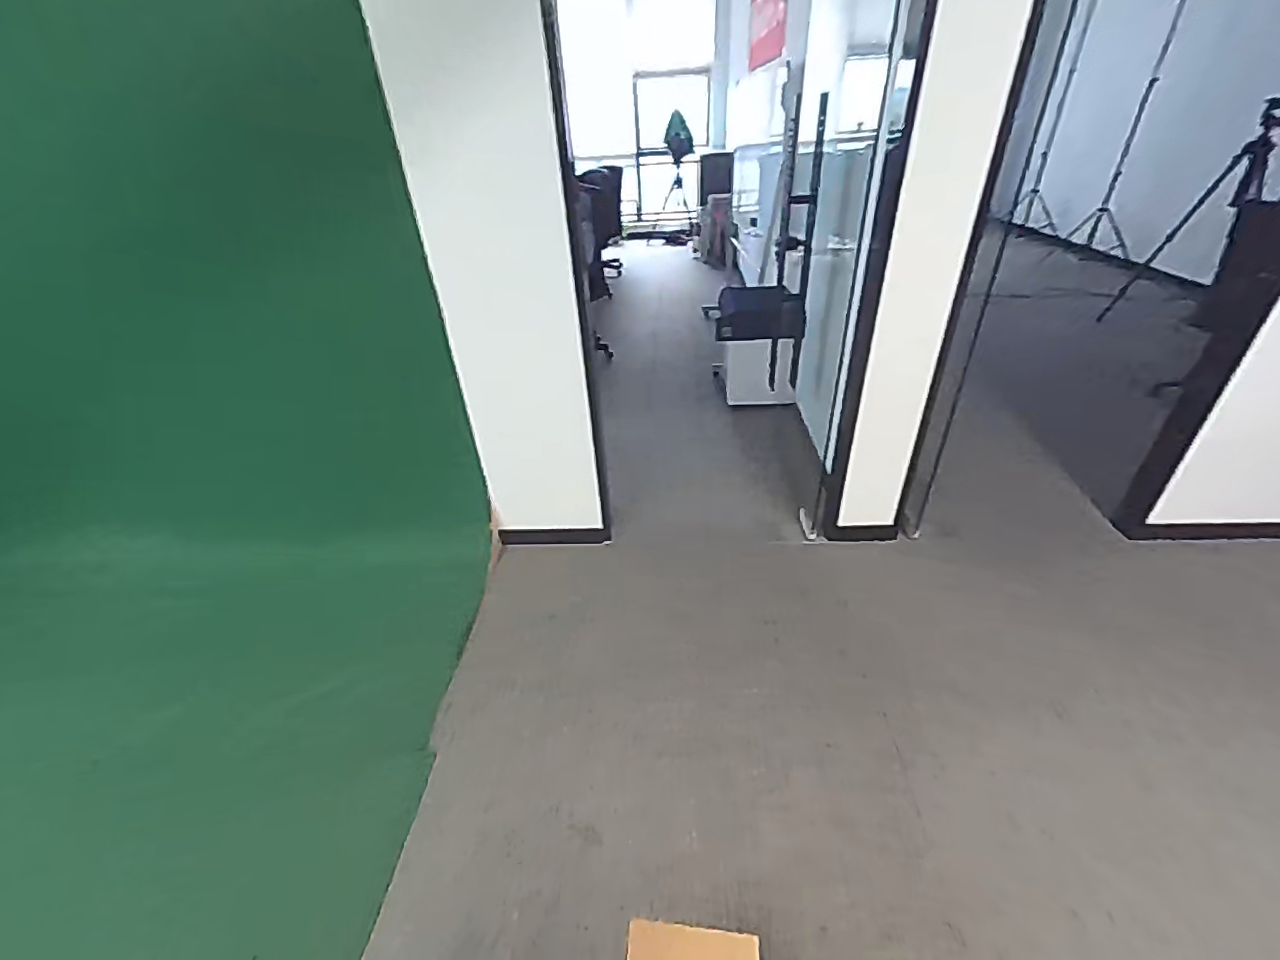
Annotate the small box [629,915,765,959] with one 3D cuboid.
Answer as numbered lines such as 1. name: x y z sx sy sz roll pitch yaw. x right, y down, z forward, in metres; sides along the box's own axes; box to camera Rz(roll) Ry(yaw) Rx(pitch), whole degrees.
1. small box: 0.071 0.711 0.707 0.179 0.176 0.168 1 33 9
